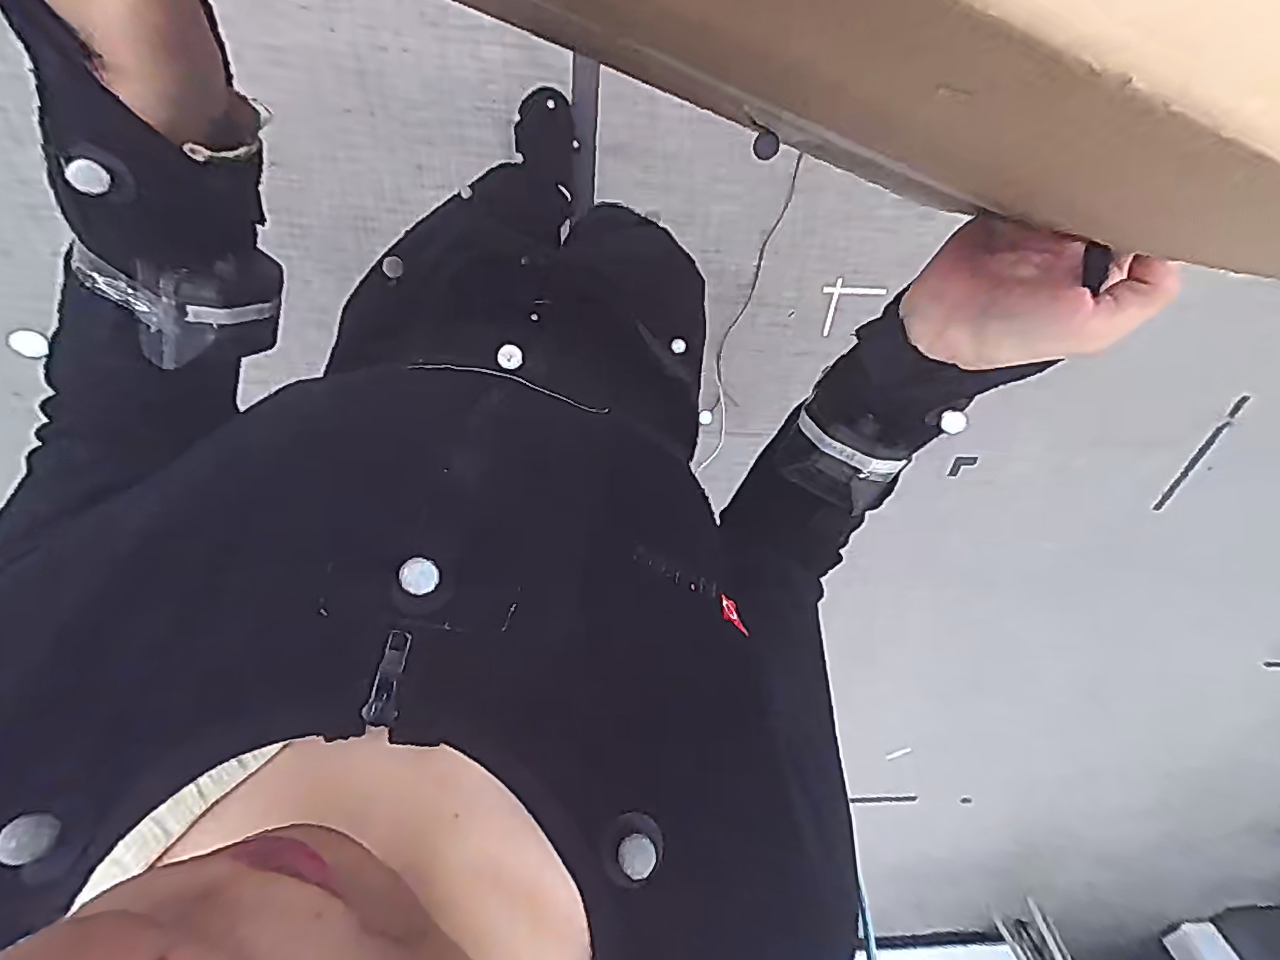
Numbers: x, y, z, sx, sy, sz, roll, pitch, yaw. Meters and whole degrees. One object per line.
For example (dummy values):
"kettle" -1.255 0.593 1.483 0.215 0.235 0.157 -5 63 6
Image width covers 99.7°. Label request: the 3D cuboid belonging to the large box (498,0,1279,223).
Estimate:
"large box" 0.040 -0.296 0.117 0.408 0.320 0.320 15 122 -10
